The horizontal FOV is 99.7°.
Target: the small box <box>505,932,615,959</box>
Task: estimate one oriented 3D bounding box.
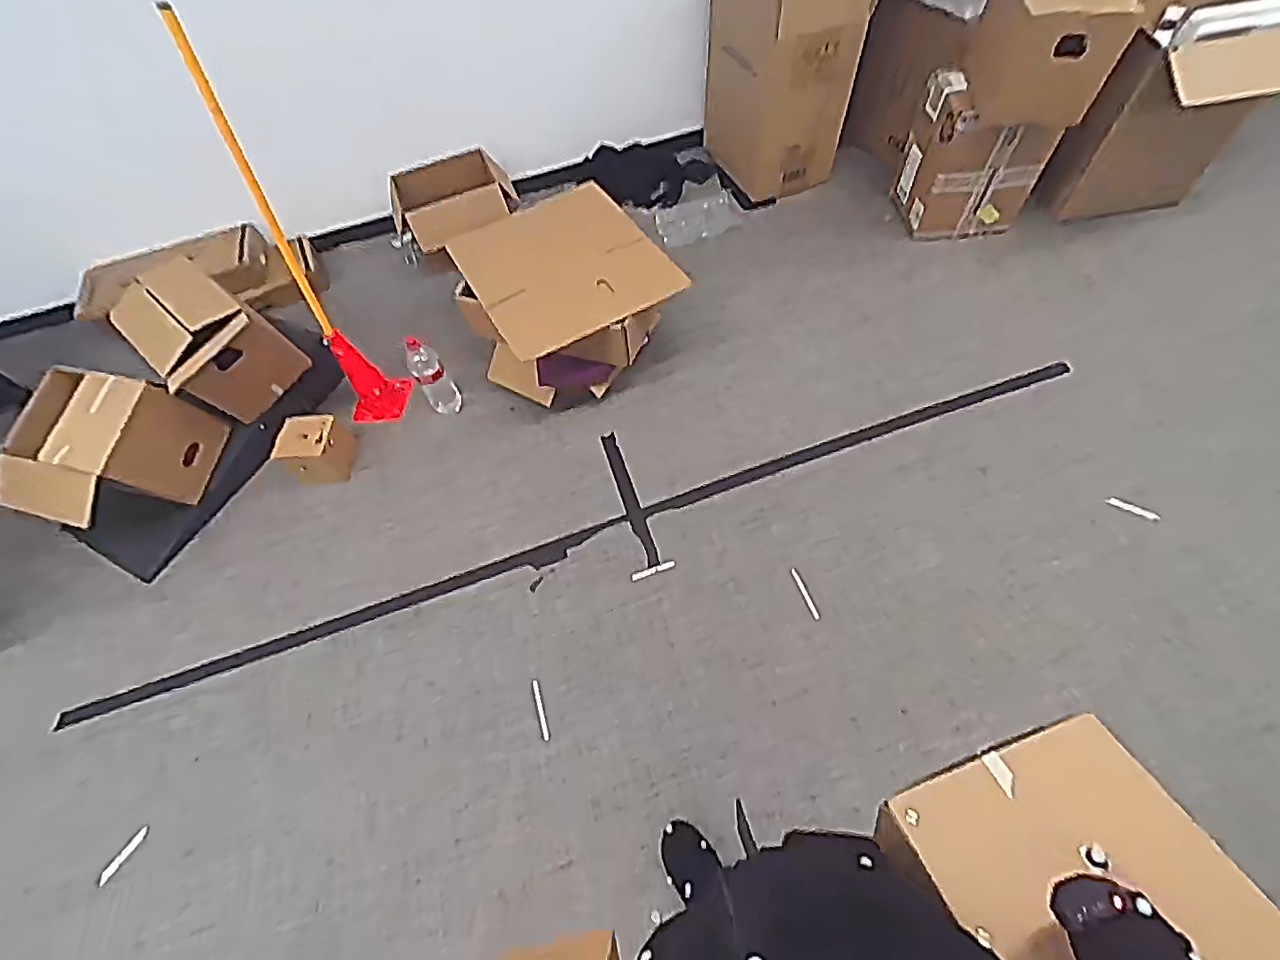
[{"bbox_3d":[-0.104,0.723,0.676,0.168,0.179,0.176,-12,71,-2],"label":"small box"}]
